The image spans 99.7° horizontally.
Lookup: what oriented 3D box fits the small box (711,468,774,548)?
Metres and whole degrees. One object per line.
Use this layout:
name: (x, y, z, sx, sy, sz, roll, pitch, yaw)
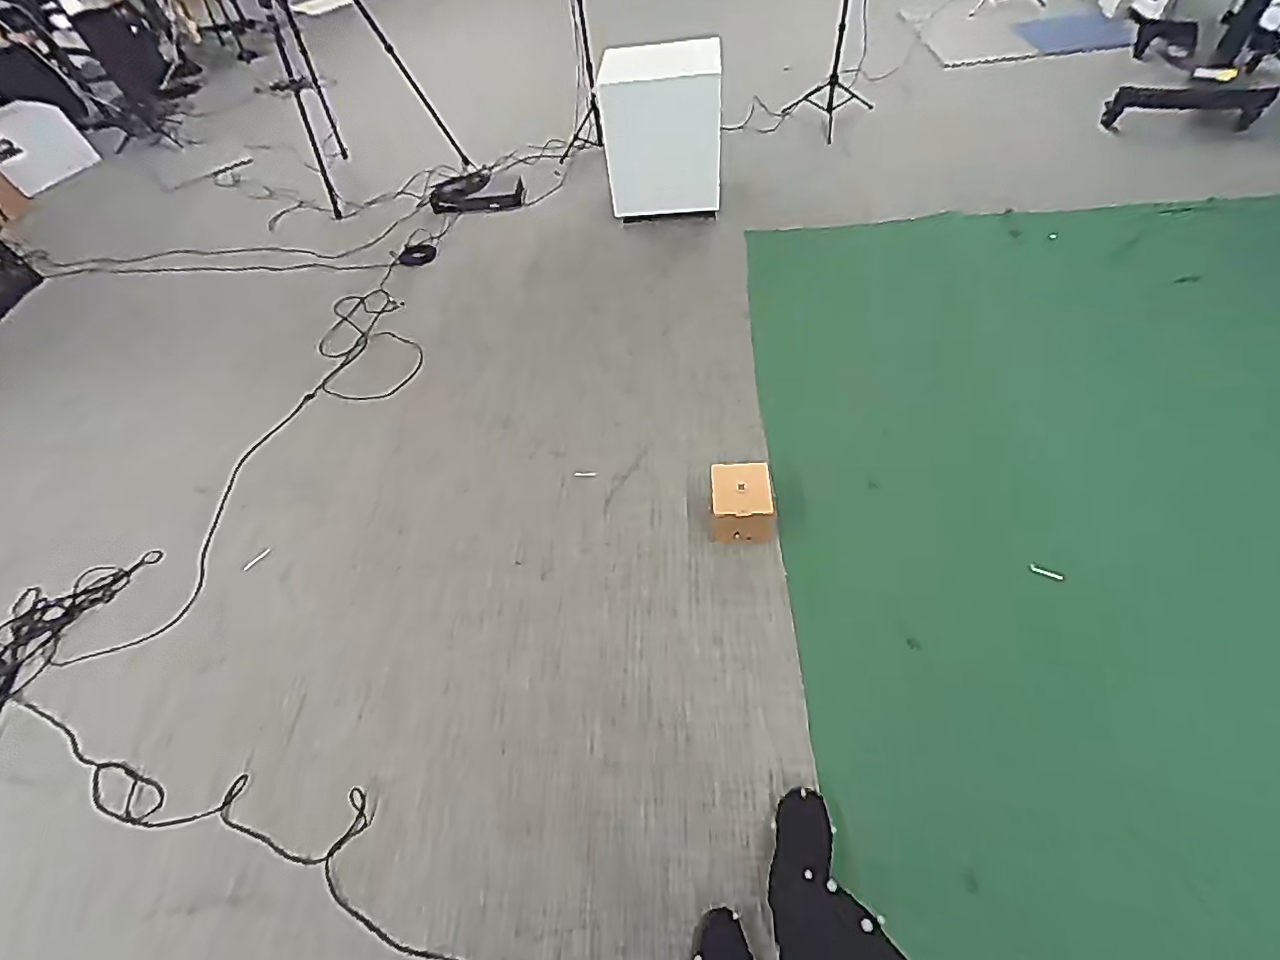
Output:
small box: (0.297, 0.085, 1.602, 0.168, 0.176, 0.179, -3, 54, 6)
